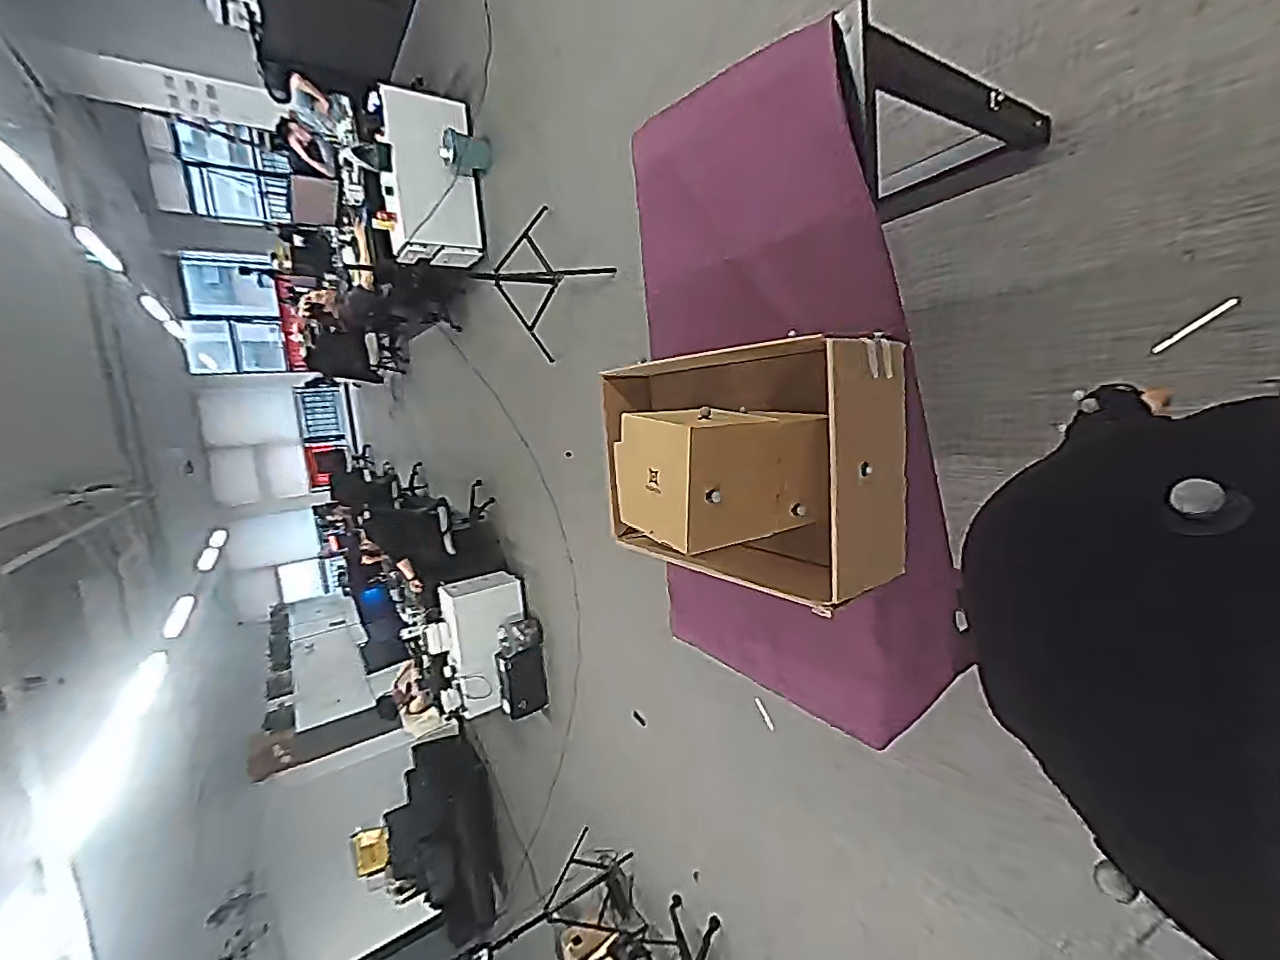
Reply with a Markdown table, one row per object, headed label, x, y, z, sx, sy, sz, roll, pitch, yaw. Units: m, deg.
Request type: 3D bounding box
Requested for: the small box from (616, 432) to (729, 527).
| label | x | y | z | sx | sy | sz | roll | pitch | yaw |
| --- | --- | --- | --- | --- | --- | --- | --- | --- | --- |
| small box | 0.068 | -0.008 | 1.124 | 0.168 | 0.176 | 0.179 | 2 | 99 | 56 |
